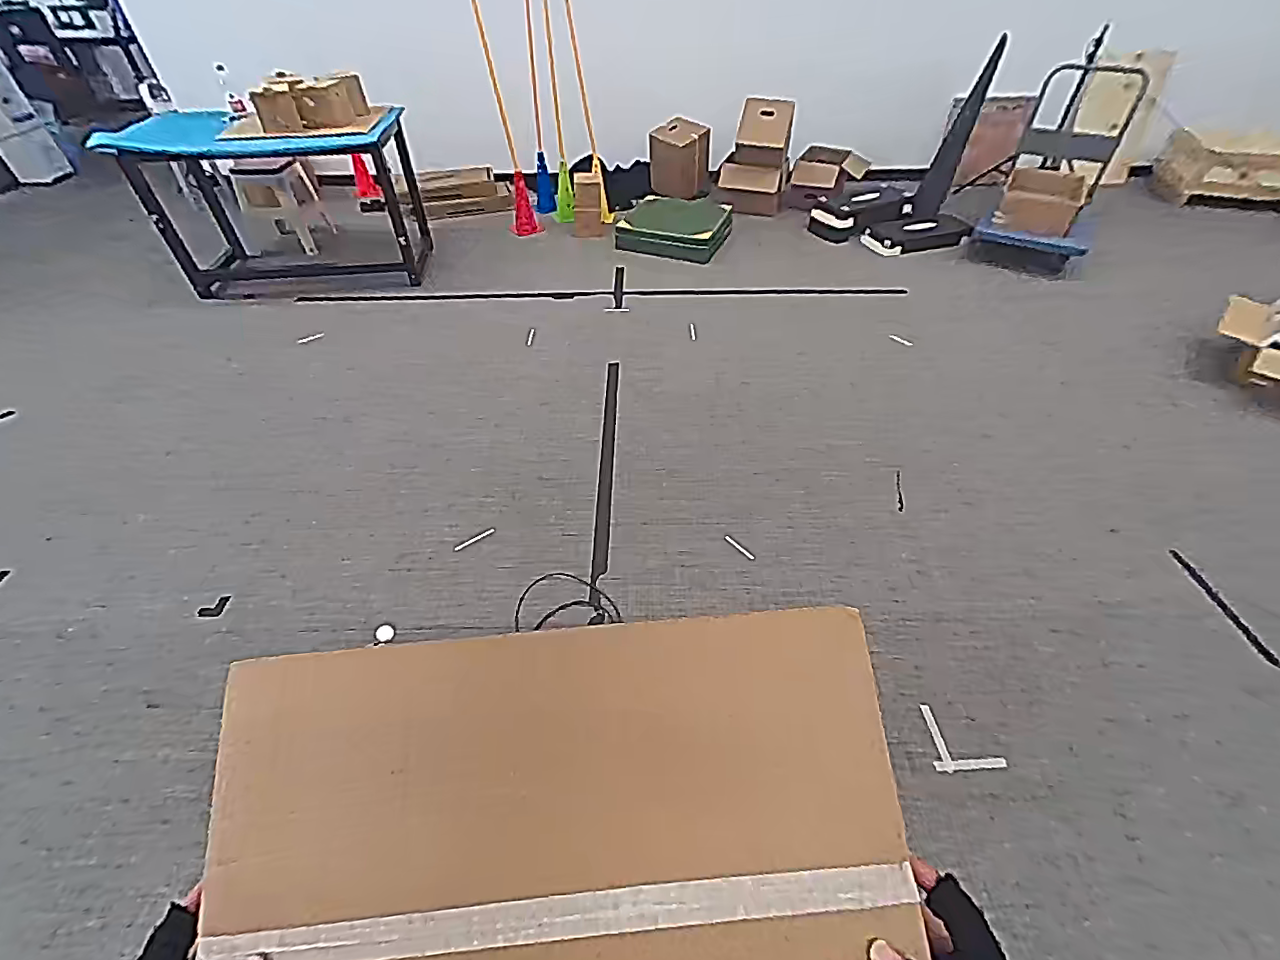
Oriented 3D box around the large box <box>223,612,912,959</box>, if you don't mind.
[{"bbox_3d":[-0.045,0.296,0.460,0.408,0.320,0.320,-5,75,-1],"label":"large box"}]
